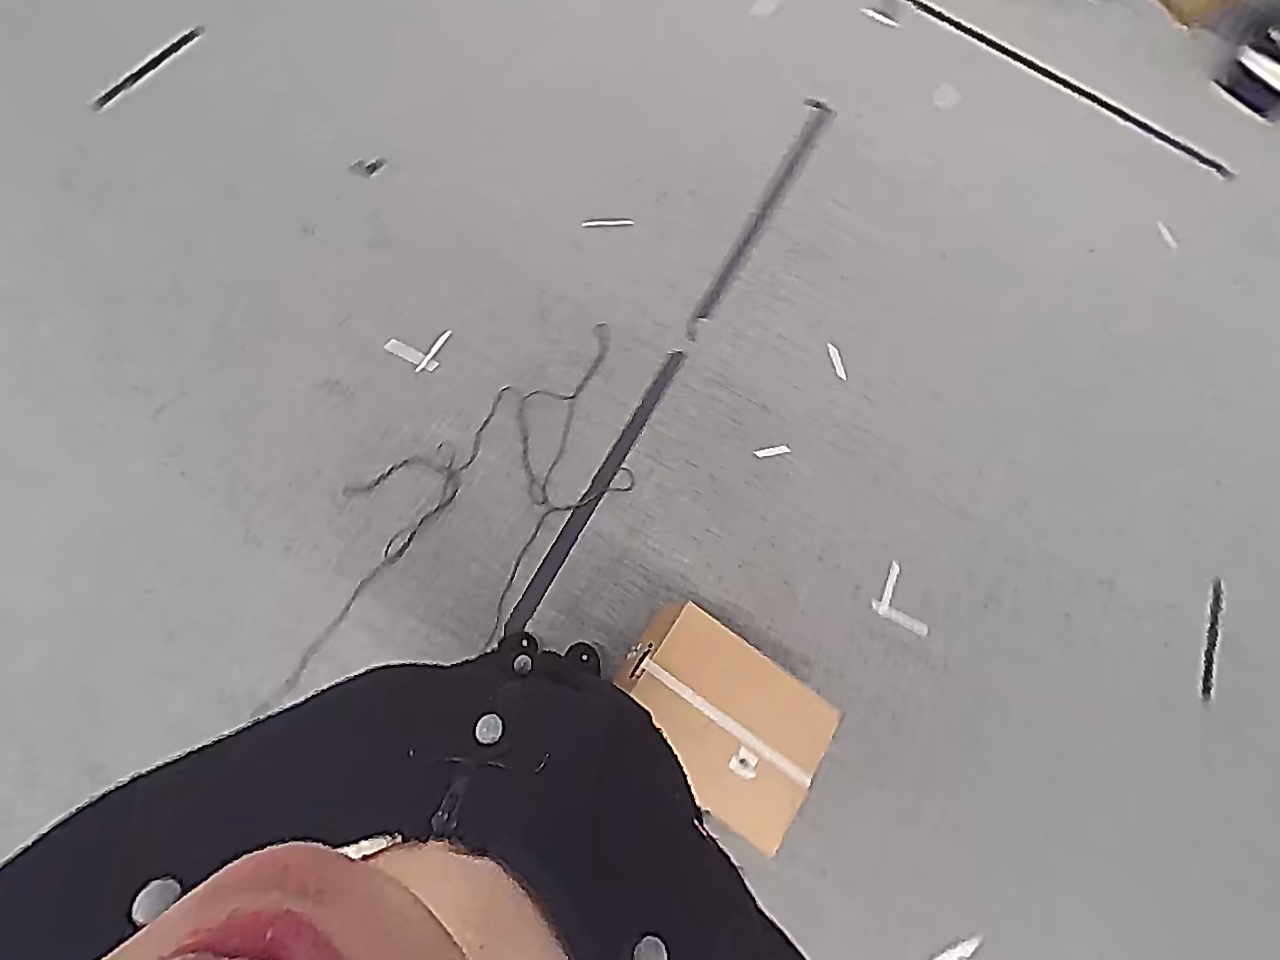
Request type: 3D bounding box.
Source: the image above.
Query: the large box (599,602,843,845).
[{"bbox_3d":[0.162,0.524,1.240,0.408,0.320,0.320,35,72,1],"label":"large box"}]
